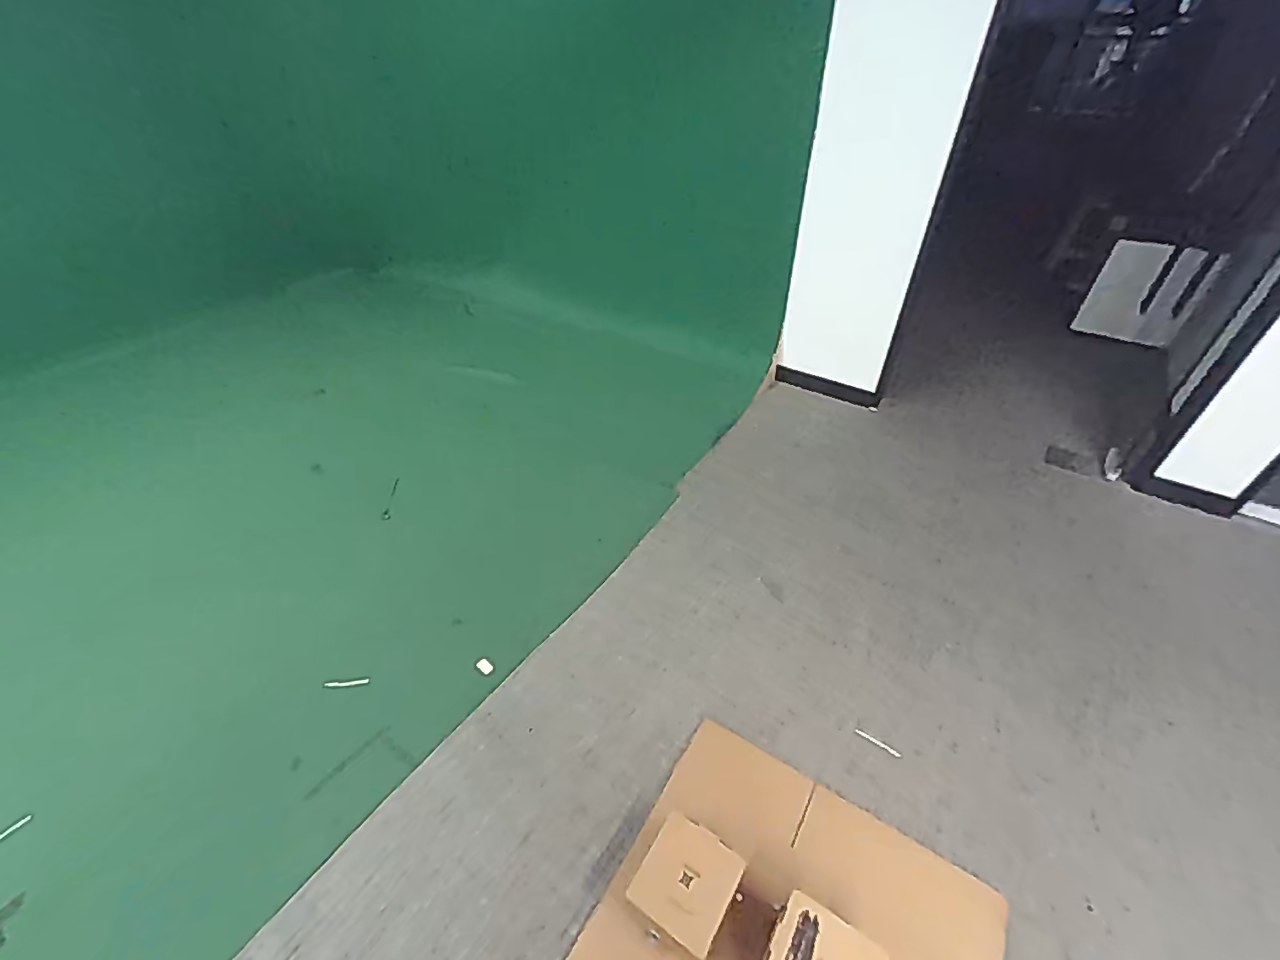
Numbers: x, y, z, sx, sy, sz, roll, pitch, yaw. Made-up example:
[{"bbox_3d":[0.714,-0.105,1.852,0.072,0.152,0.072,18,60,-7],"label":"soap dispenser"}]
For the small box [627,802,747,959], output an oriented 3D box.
[{"bbox_3d":[0.089,0.779,1.048,0.168,0.176,0.179,23,48,26],"label":"small box"}]
